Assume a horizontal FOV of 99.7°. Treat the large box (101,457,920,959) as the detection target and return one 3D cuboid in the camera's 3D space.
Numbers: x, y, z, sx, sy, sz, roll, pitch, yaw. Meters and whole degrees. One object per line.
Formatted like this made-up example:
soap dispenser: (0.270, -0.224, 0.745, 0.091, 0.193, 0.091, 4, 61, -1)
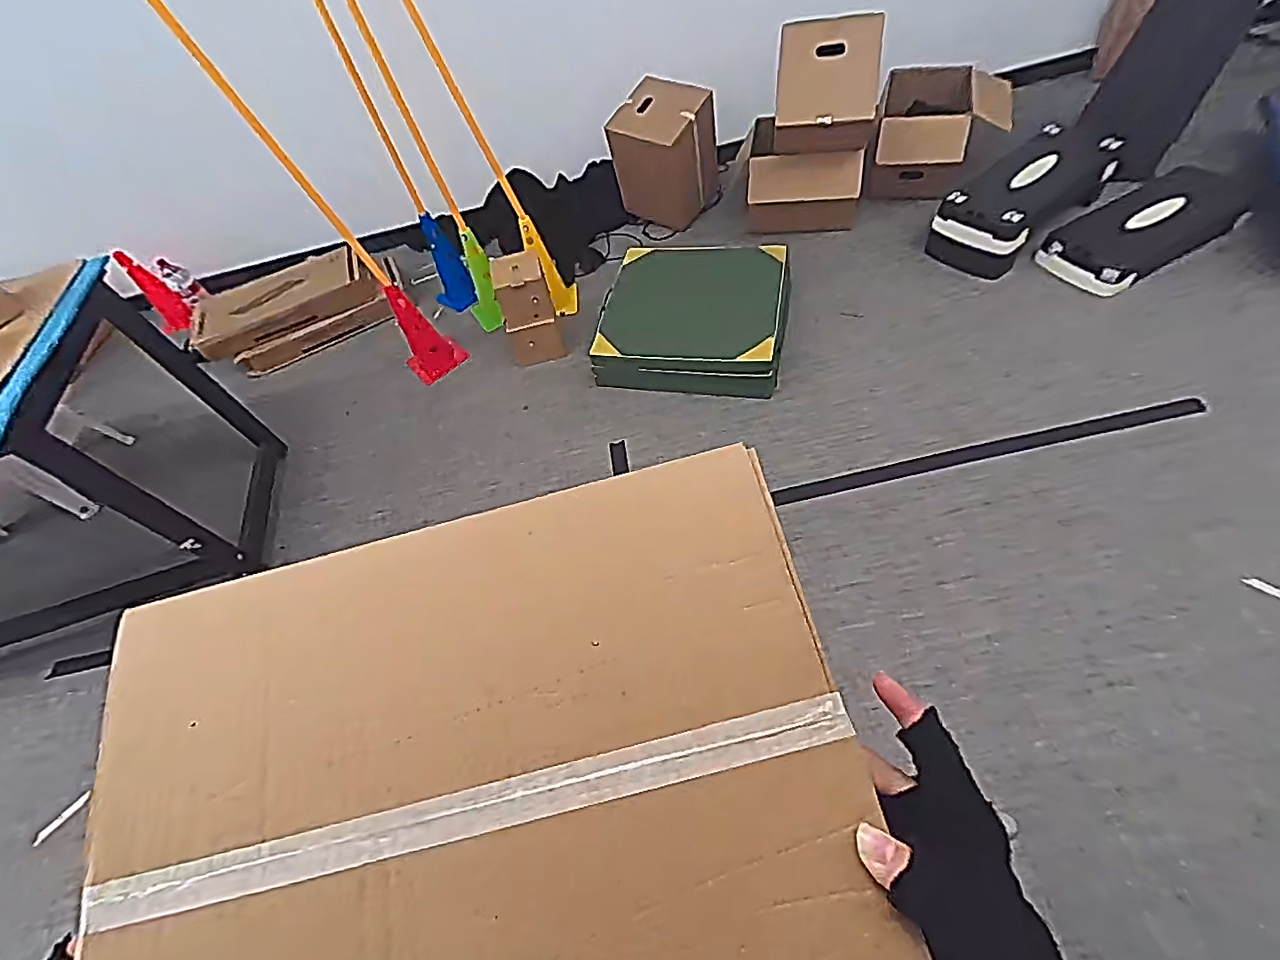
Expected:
large box: (-0.072, 0.225, 0.423, 0.408, 0.320, 0.320, -16, 67, 2)
